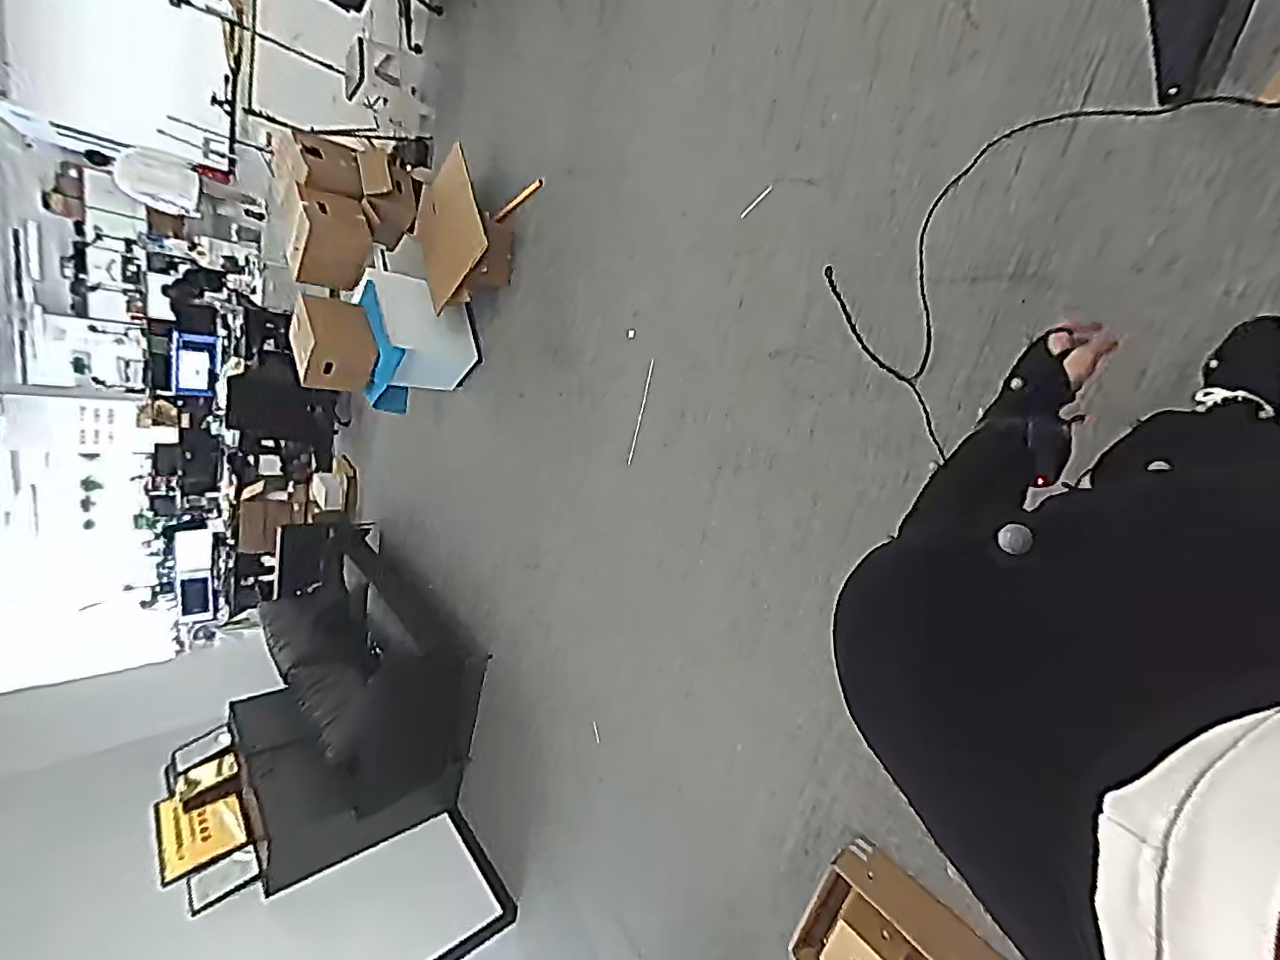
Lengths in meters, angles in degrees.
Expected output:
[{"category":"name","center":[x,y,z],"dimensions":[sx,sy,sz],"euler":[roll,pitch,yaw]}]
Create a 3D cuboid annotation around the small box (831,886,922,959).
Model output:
[{"category":"small box","center":[0.686,1.335,1.557],"dimensions":[0.168,0.176,0.179],"euler":[28,111,40]}]
